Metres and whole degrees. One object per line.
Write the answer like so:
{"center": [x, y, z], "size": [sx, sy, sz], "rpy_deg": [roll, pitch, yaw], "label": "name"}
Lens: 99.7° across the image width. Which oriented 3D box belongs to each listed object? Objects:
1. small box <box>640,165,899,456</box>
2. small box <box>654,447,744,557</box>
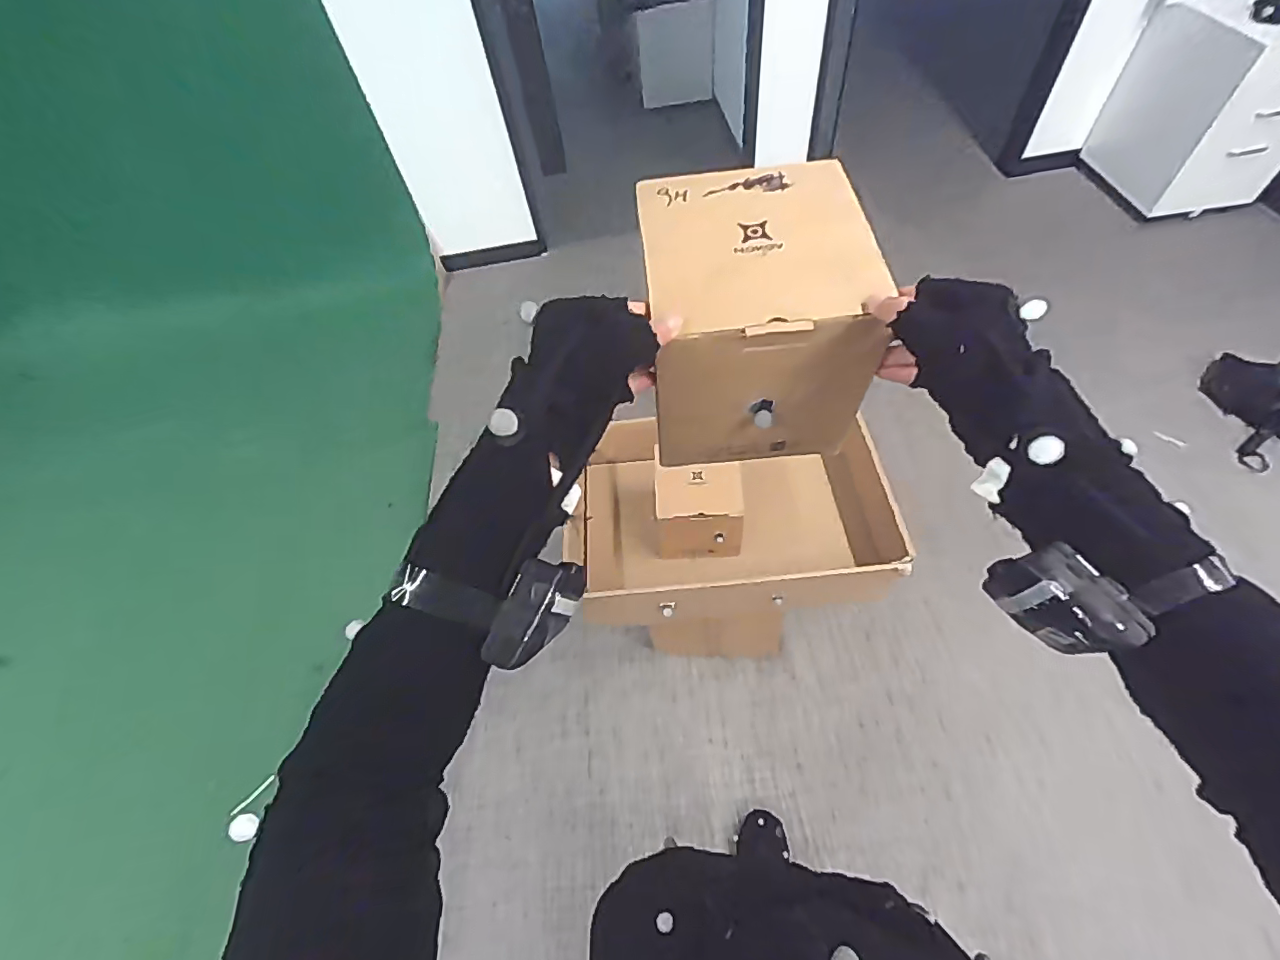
{"center": [0.091, -0.131, 0.466], "size": [0.168, 0.176, 0.179], "rpy_deg": [-5, 61, 1], "label": "small box"}
{"center": [0.115, 0.048, 1.097], "size": [0.168, 0.176, 0.179], "rpy_deg": [-3, 53, 2], "label": "small box"}
